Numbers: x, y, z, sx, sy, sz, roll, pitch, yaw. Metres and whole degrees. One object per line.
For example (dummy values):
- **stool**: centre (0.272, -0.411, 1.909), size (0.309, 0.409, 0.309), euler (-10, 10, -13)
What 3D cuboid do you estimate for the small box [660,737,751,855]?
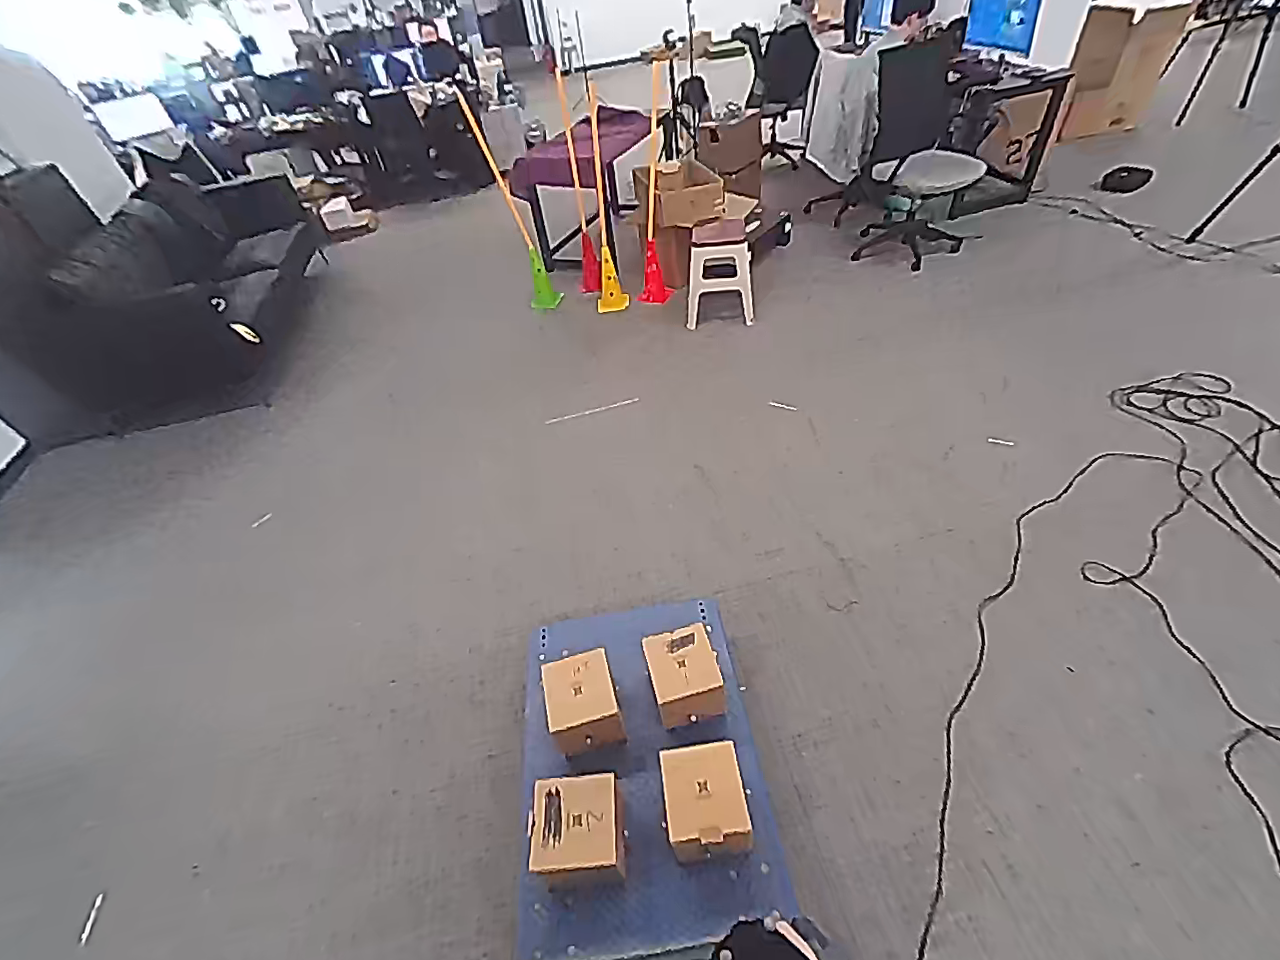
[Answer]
- **small box**: centre (0.139, 0.694, 1.186), size (0.168, 0.176, 0.179), euler (-9, 46, 0)

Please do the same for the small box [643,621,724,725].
- **small box**: centre (0.110, 0.496, 1.389), size (0.168, 0.176, 0.179), euler (-14, 45, -5)

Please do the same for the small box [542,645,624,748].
- **small box**: centre (-0.142, 0.554, 1.368), size (0.168, 0.176, 0.179), euler (-14, 45, -6)
